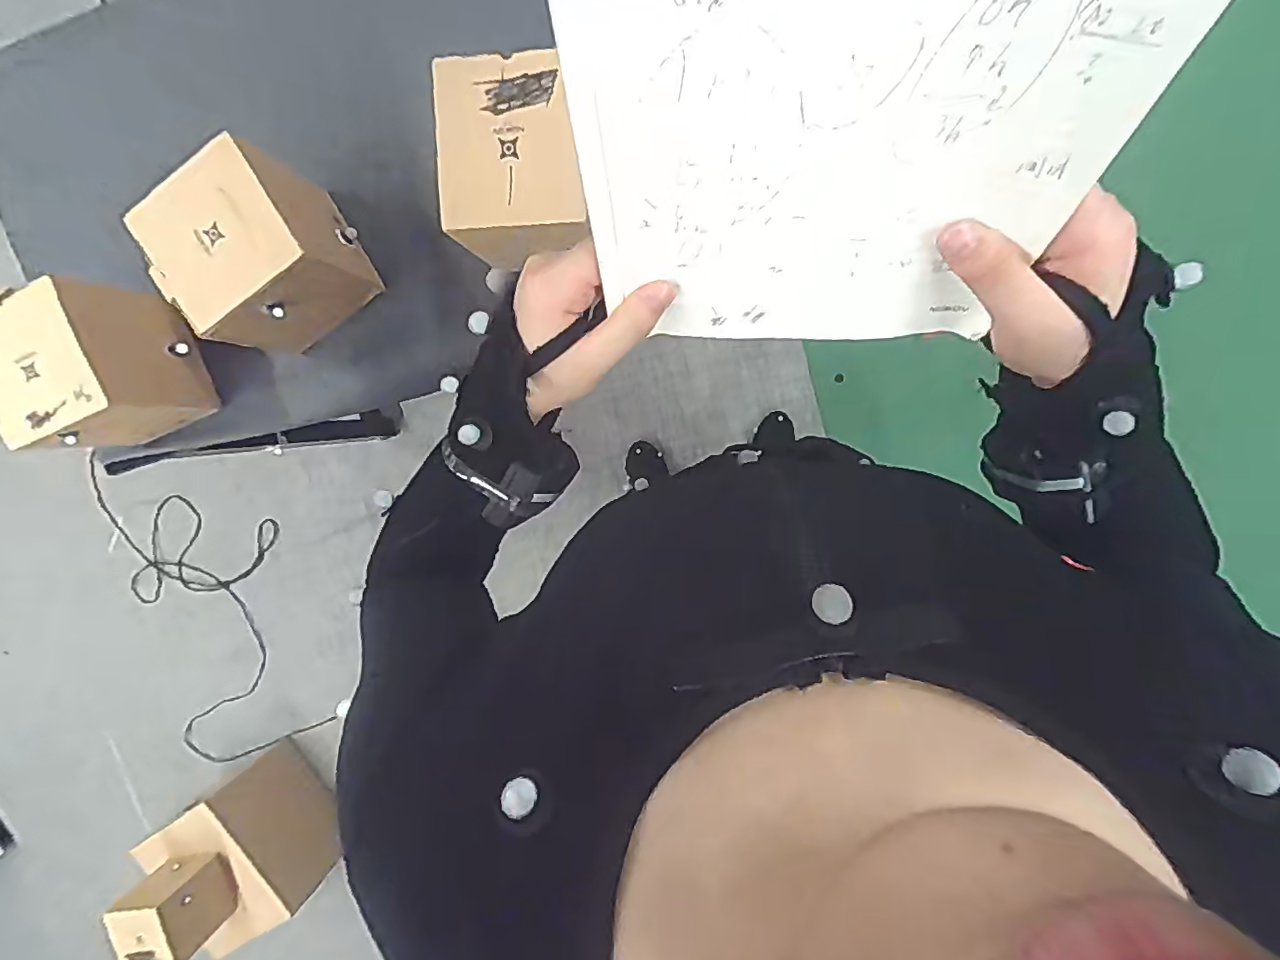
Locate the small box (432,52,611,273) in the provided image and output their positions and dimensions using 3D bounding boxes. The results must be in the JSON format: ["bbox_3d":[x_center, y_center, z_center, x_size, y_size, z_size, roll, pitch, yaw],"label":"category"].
[{"bbox_3d":[-0.131,-0.365,0.655,0.168,0.176,0.179,0,97,8],"label":"small box"}]

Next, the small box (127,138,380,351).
[{"bbox_3d":[-0.491,-0.290,0.714,0.179,0.176,0.168,-32,92,8],"label":"small box"}]

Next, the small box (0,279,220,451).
[{"bbox_3d":[-0.756,-0.150,0.762,0.168,0.176,0.179,-21,94,9],"label":"small box"}]
